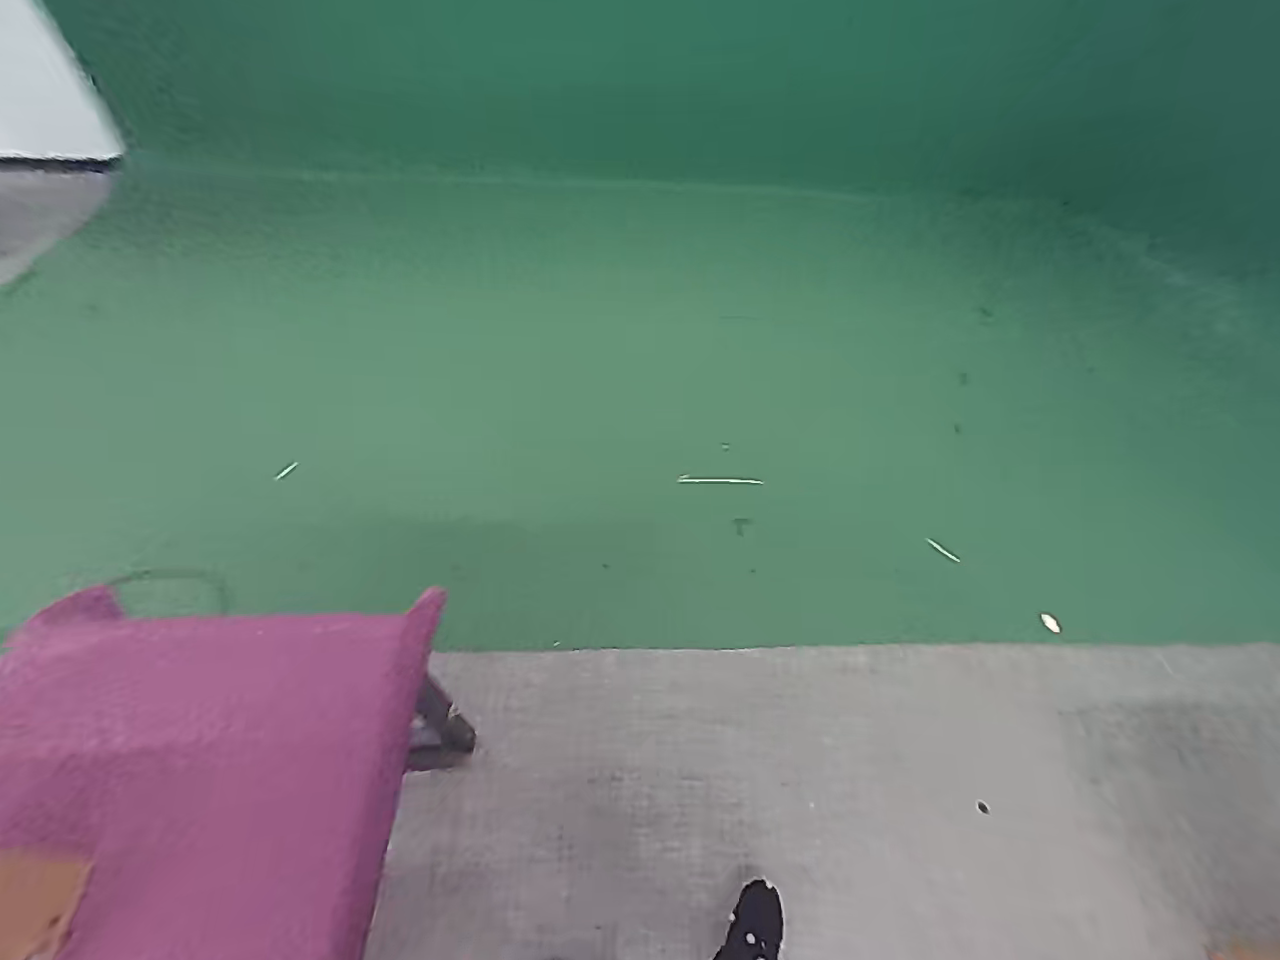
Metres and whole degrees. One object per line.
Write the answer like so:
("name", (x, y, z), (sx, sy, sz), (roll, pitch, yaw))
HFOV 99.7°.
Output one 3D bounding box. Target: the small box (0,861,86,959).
("small box", (-0.772, 0.511, 0.567), (0.179, 0.176, 0.168), (-1, 52, -6))
